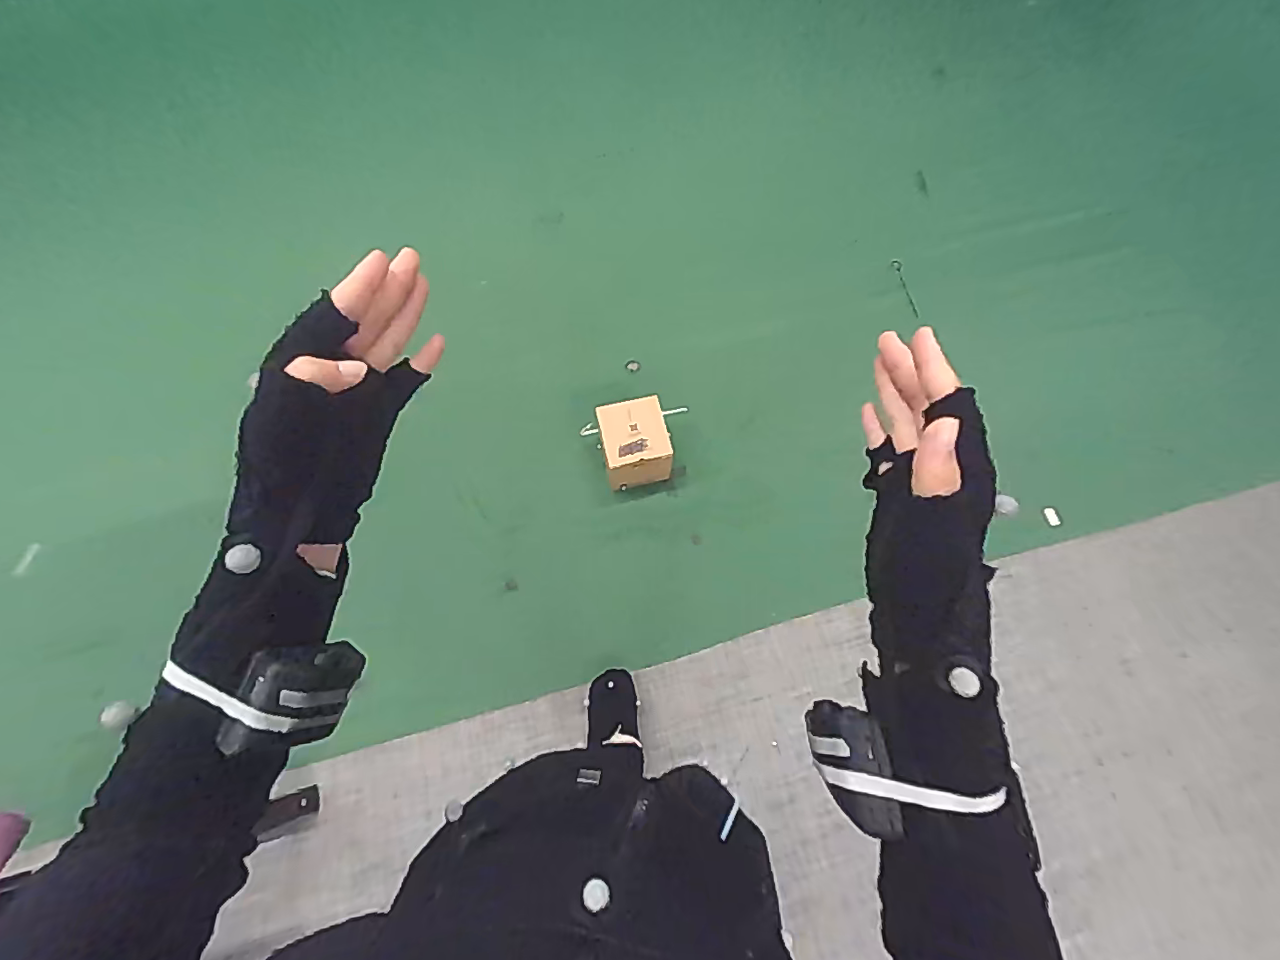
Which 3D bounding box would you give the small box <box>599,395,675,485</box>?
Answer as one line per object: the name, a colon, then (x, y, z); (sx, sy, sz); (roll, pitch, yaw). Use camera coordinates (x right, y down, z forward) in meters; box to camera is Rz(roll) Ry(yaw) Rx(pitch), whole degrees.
small box: (-0.009, -0.097, 1.438); (0.168, 0.176, 0.179); (-12, 70, -5)
